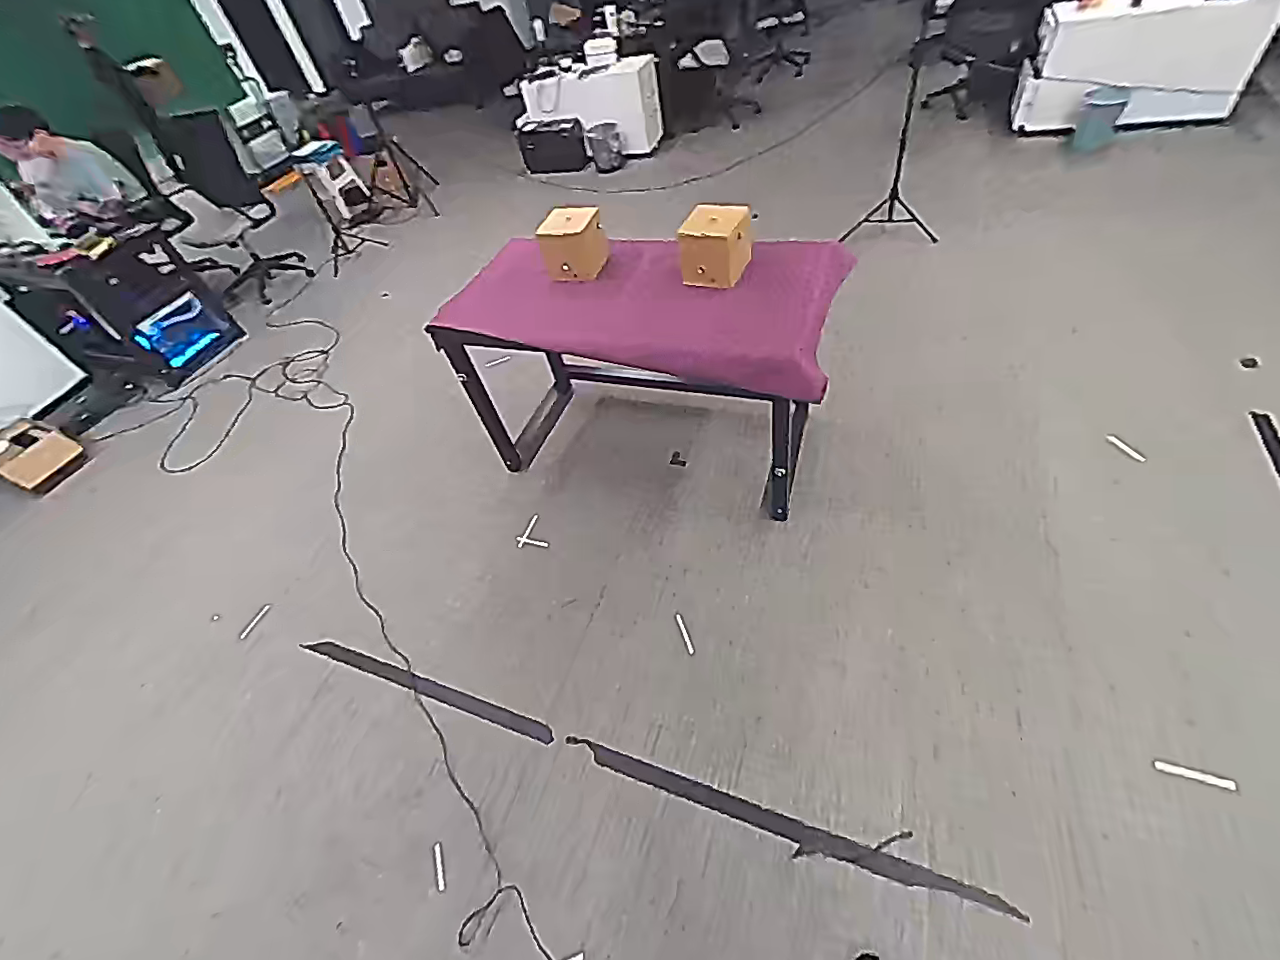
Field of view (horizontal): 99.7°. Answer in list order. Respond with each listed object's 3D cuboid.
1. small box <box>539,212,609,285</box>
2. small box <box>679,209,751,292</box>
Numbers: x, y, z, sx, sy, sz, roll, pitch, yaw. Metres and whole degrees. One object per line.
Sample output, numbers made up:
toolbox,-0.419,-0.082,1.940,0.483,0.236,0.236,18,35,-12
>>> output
small box,-0.214,-0.784,1.832,0.168,0.176,0.179,7,52,19
small box,0.235,-0.704,1.659,0.168,0.176,0.179,15,56,25
